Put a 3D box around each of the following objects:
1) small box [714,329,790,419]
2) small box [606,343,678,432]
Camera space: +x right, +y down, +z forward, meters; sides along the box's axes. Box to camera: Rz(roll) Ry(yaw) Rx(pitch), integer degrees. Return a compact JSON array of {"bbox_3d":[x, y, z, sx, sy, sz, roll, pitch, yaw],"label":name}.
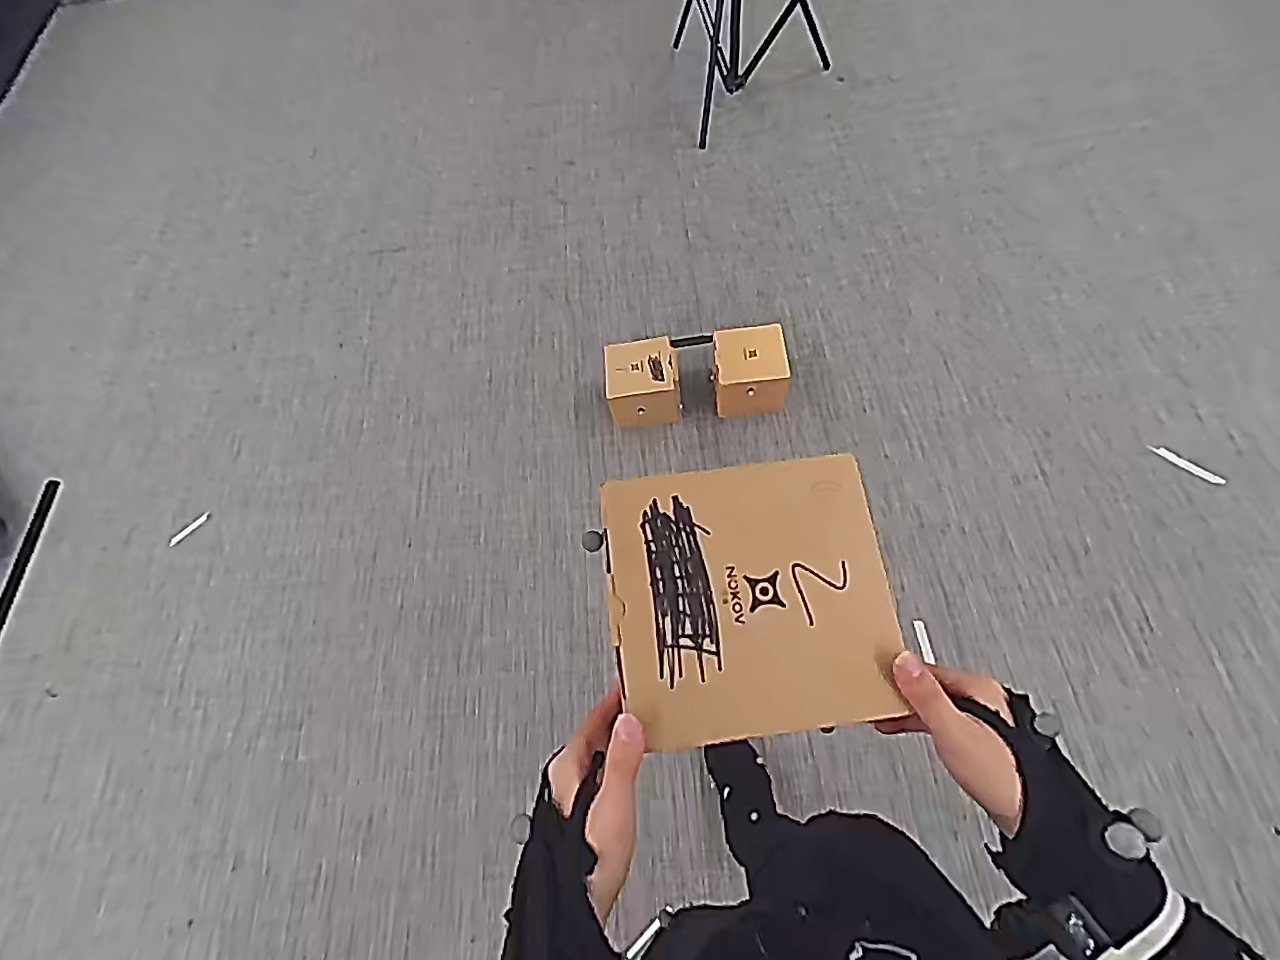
[{"bbox_3d":[0.291,-0.277,1.441,0.179,0.176,0.168,-6,67,7],"label":"small box"},{"bbox_3d":[0.010,-0.246,1.465,0.179,0.176,0.168,-7,66,7],"label":"small box"}]
